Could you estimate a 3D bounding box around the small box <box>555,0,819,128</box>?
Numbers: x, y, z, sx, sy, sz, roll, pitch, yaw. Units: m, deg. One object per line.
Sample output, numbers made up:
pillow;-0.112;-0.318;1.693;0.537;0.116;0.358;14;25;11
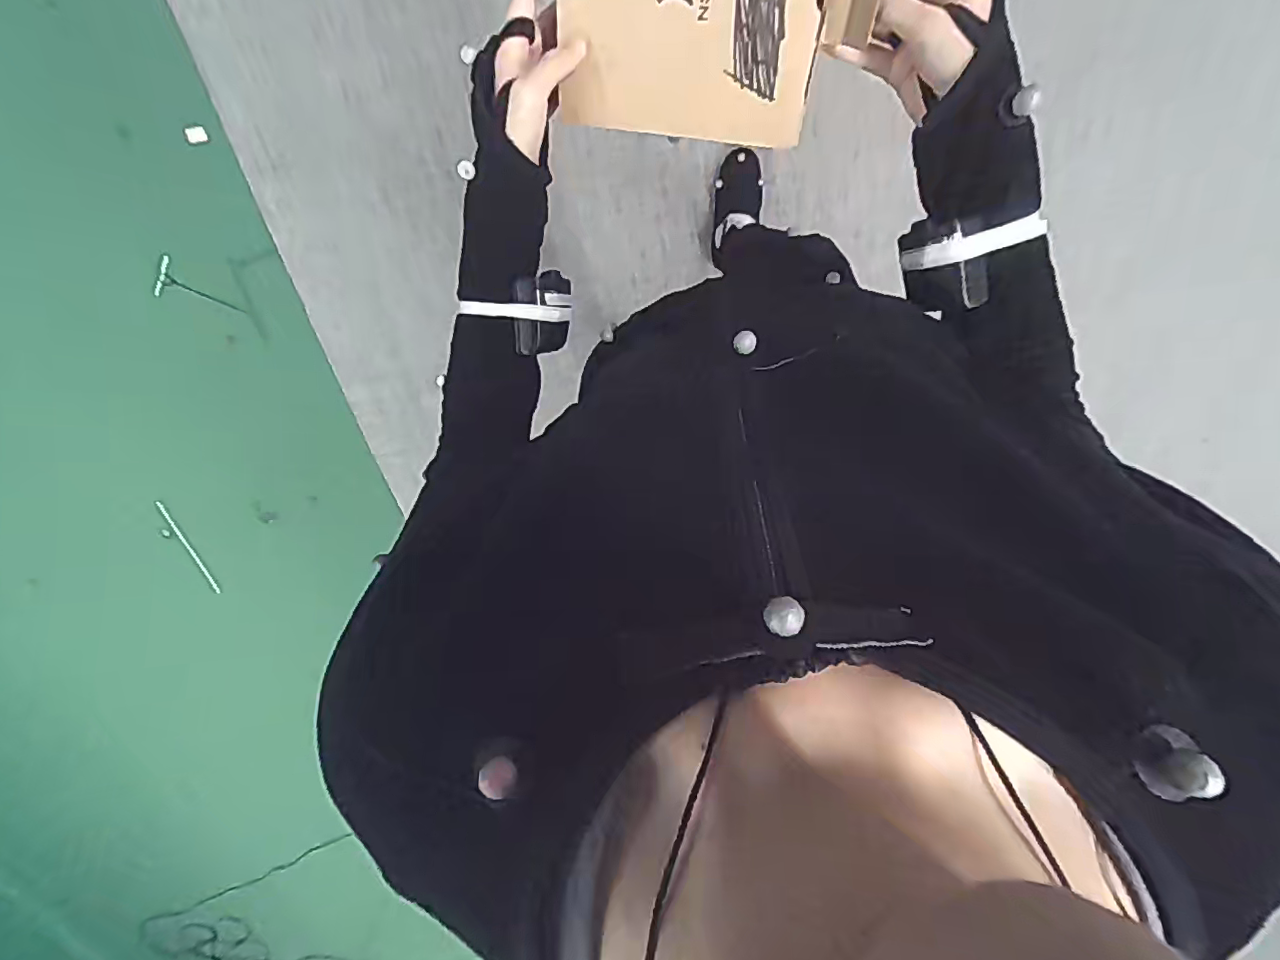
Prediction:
small box;0.043;-0.379;0.401;0.179;0.176;0.168;10;130;5
